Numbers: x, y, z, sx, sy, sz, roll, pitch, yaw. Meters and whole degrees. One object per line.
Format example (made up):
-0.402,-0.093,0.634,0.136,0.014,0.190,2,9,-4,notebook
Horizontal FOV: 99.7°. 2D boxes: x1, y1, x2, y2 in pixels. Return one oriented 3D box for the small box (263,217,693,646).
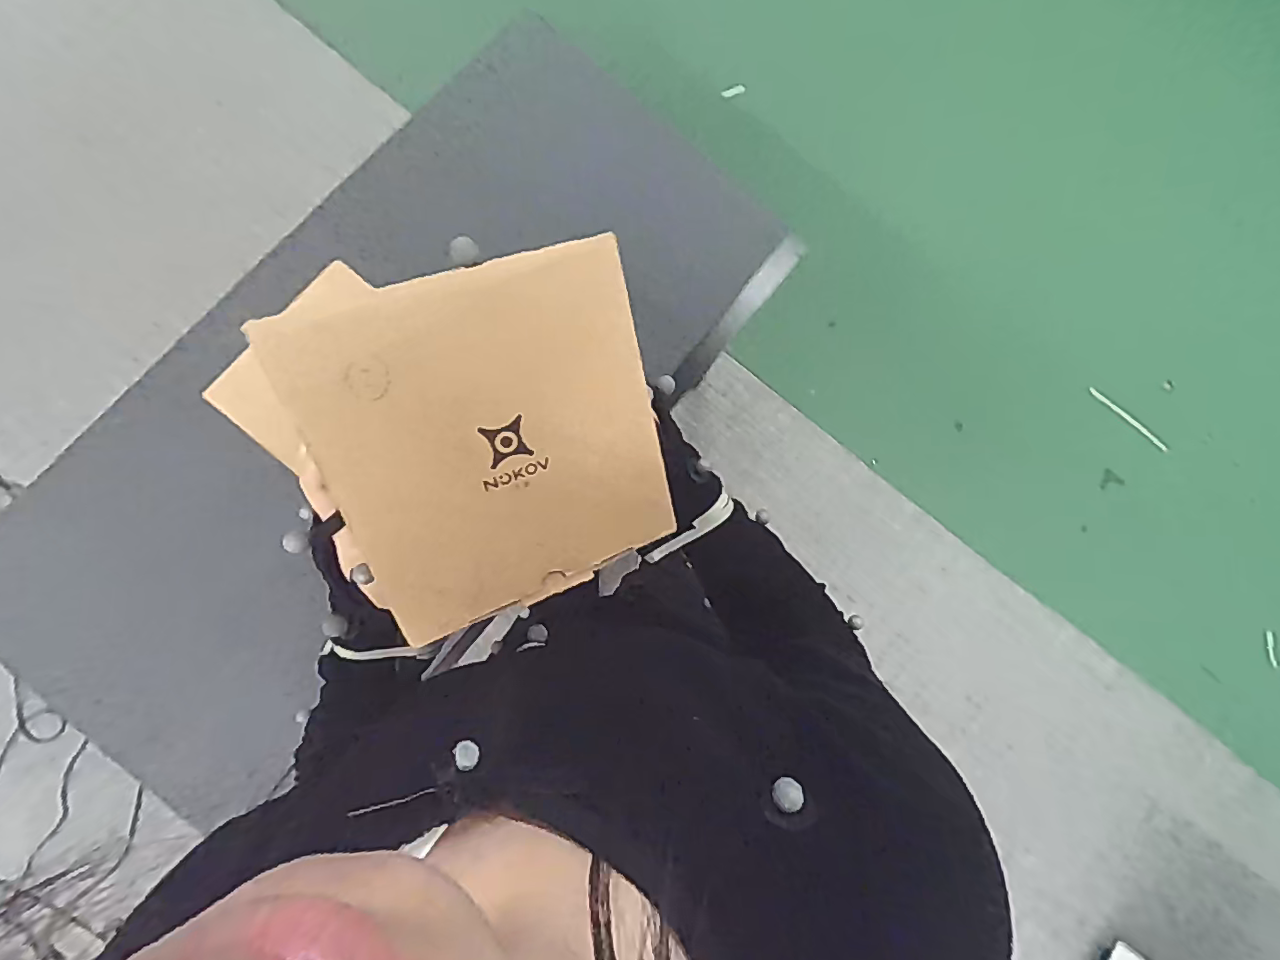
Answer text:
-0.091,-0.043,0.330,0.168,0.176,0.179,-22,117,-18,small box
